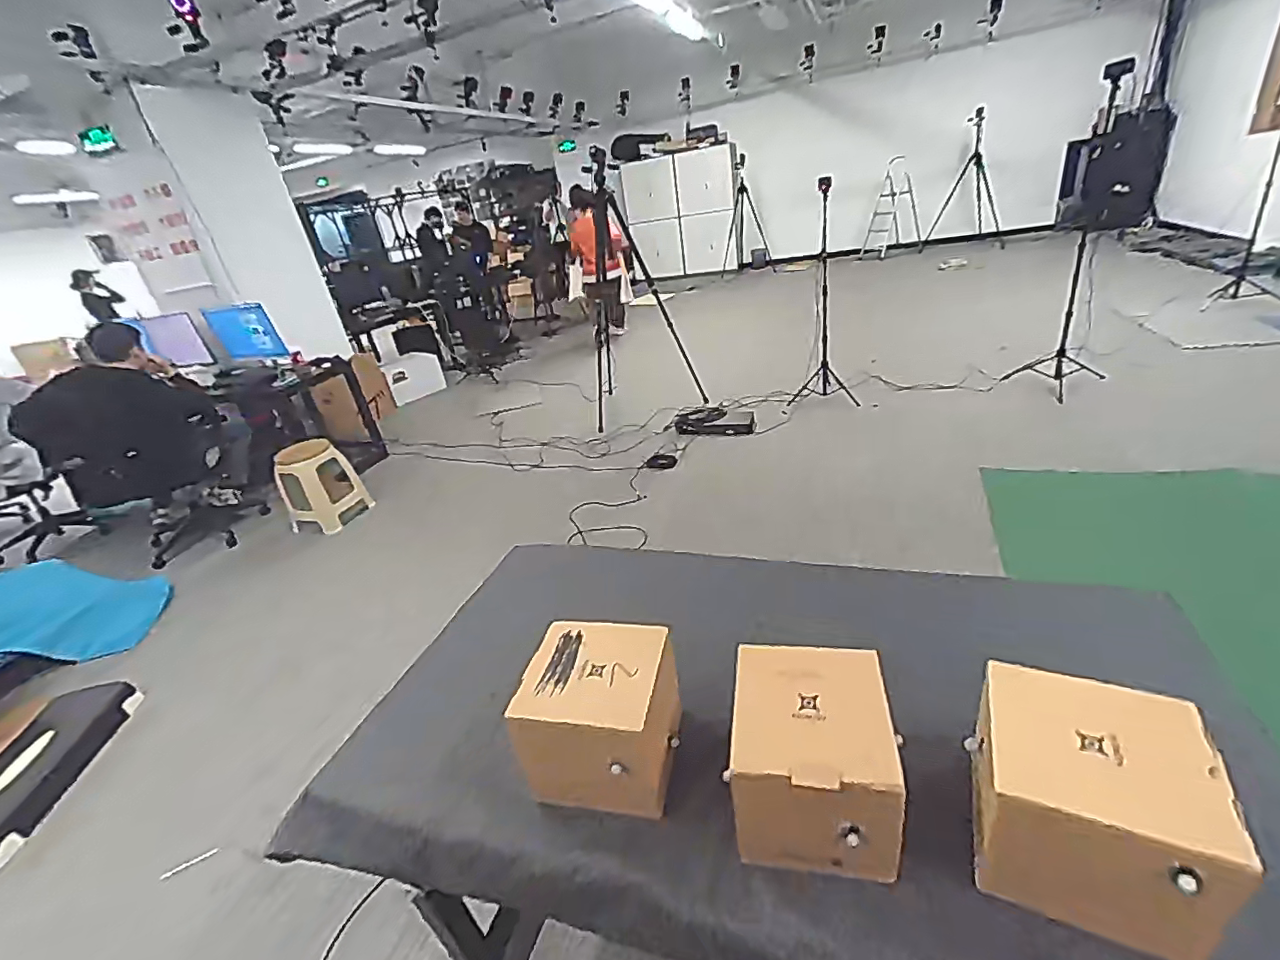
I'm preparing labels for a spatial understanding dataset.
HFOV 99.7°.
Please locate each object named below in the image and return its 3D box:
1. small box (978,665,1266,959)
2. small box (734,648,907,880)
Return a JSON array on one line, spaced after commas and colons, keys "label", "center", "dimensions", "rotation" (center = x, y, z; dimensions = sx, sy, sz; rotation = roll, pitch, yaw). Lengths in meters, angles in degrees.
[{"label": "small box", "center": [0.448, 0.323, 0.544], "dimensions": [0.179, 0.176, 0.168], "rotation": [5, 30, 28]}, {"label": "small box", "center": [0.203, 0.323, 0.631], "dimensions": [0.168, 0.176, 0.179], "rotation": [-2, 27, 14]}]
